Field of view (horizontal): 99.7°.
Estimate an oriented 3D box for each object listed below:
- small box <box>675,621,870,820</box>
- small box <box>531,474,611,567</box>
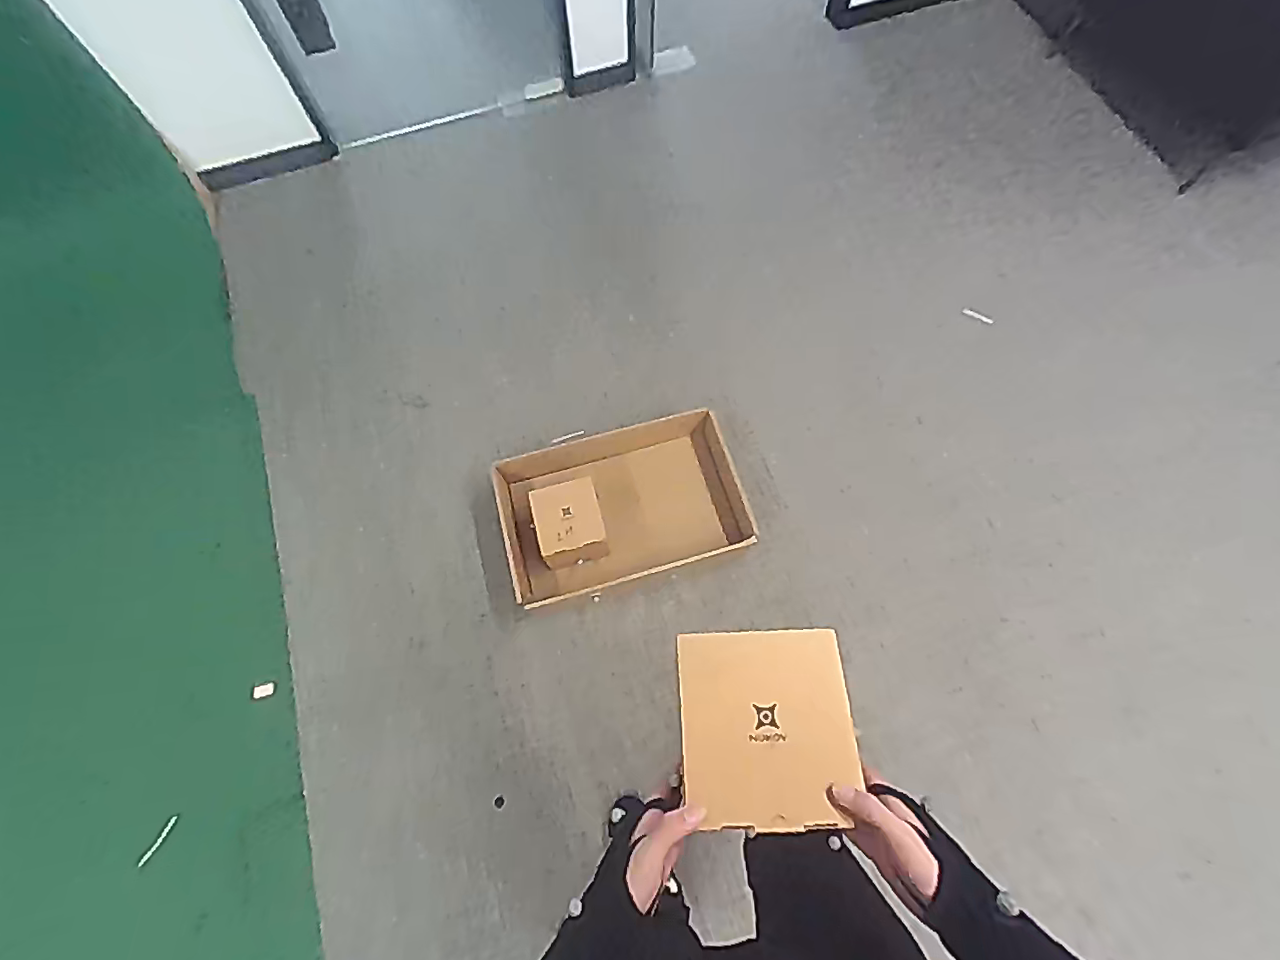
[{"bbox_3d":[0.124,0.265,0.590,0.168,0.176,0.179,-3,60,2],"label":"small box"},{"bbox_3d":[-0.176,0.111,1.411,0.168,0.176,0.179,-15,69,-5],"label":"small box"}]
